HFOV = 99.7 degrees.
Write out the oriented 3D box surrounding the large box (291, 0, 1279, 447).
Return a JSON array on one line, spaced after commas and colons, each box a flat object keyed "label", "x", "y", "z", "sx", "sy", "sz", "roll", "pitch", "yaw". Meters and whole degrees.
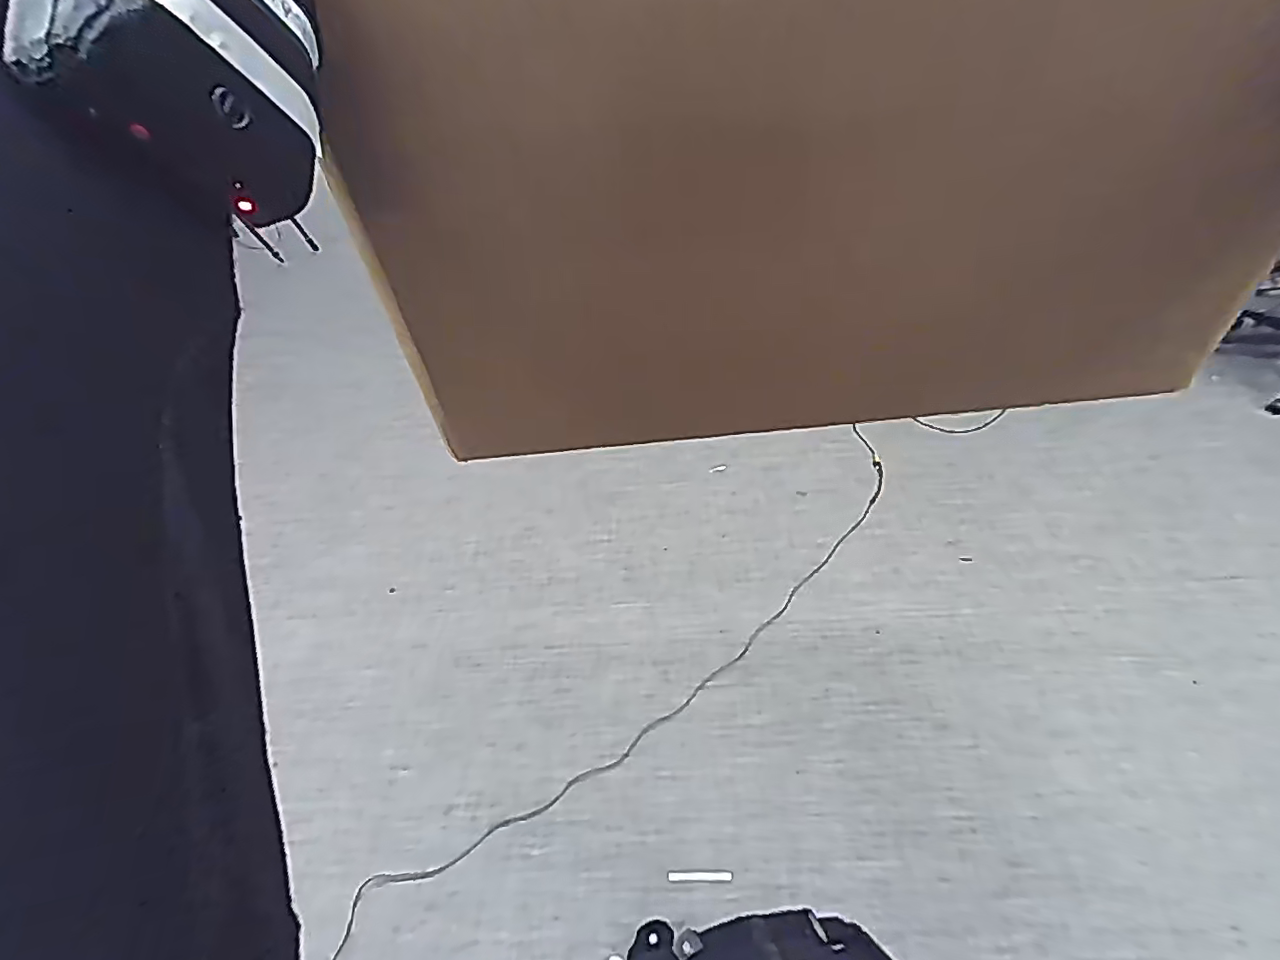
[{"label": "large box", "x": 0.071, "y": -0.245, "z": 0.317, "sx": 0.408, "sy": 0.320, "sz": 0.320, "roll": -5, "pitch": 43, "yaw": 1}]
